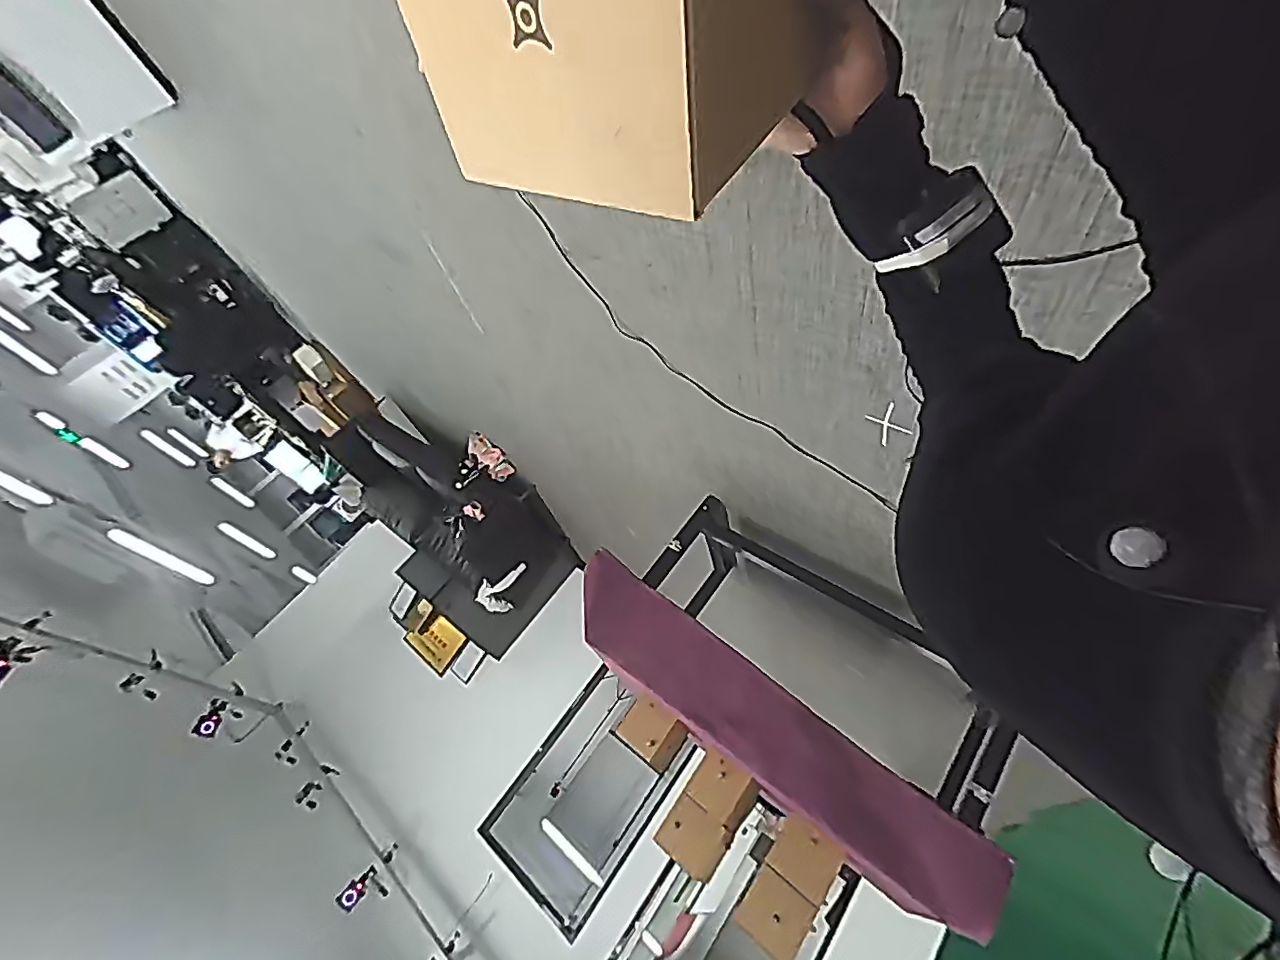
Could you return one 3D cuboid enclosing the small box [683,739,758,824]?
[{"bbox_3d":[0.276,1.001,1.798,0.168,0.176,0.179,24,154,37],"label":"small box"}]

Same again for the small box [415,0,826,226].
[{"bbox_3d":[-0.004,-0.275,0.289,0.168,0.176,0.179,23,151,23],"label":"small box"}]

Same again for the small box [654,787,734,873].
[{"bbox_3d":[0.177,1.117,1.739,0.179,0.176,0.168,25,156,36],"label":"small box"}]

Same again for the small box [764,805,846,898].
[{"bbox_3d":[0.499,1.117,1.637,0.179,0.176,0.168,27,157,33],"label":"small box"}]

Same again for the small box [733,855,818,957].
[{"bbox_3d":[0.398,1.234,1.582,0.179,0.176,0.168,26,156,32],"label":"small box"}]
